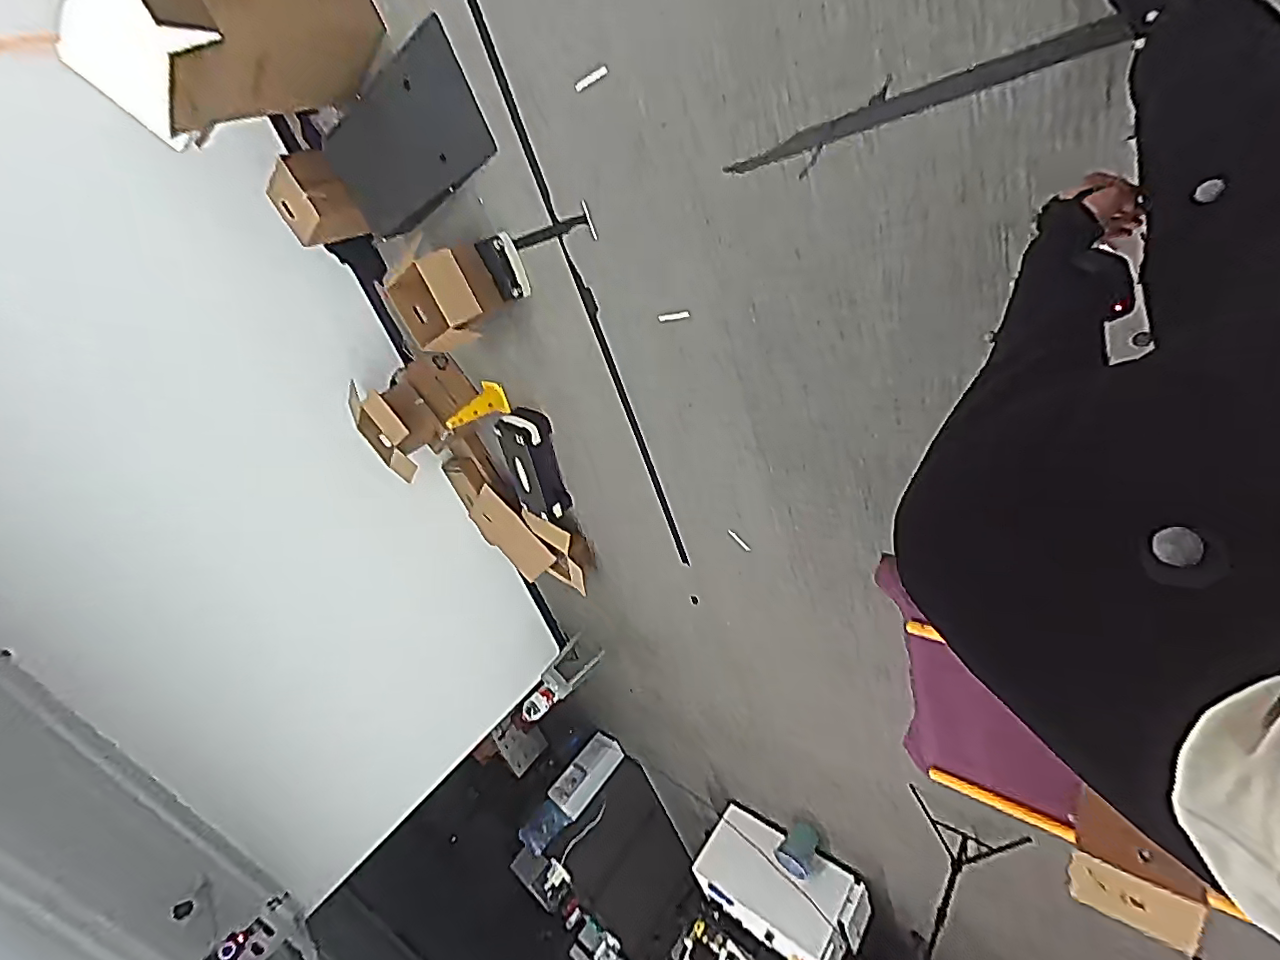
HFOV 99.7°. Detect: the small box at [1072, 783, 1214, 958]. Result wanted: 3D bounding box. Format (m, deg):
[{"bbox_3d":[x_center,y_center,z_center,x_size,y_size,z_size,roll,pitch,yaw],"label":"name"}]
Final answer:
[{"bbox_3d":[0.930,0.710,1.005,0.179,0.176,0.168,8,126,44],"label":"small box"}]
